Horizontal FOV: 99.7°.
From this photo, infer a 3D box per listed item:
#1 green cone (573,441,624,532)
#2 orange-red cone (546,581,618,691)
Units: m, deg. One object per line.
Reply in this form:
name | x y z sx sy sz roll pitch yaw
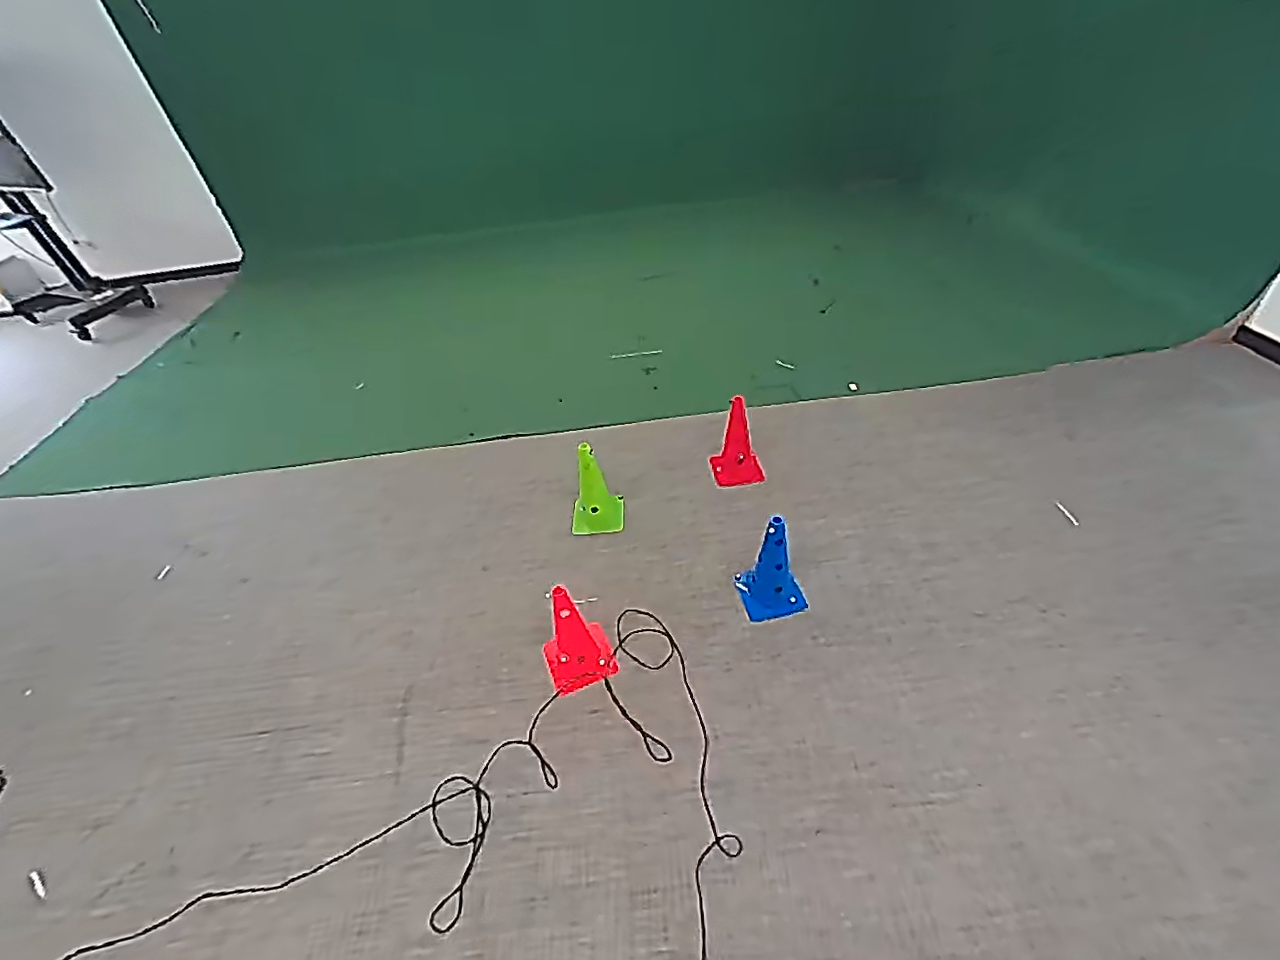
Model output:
green cone | -0.184 0.001 2.043 0.200 0.368 0.202 -6 43 3
orange-red cone | -0.201 0.422 1.586 0.198 0.360 0.199 -19 42 -14
